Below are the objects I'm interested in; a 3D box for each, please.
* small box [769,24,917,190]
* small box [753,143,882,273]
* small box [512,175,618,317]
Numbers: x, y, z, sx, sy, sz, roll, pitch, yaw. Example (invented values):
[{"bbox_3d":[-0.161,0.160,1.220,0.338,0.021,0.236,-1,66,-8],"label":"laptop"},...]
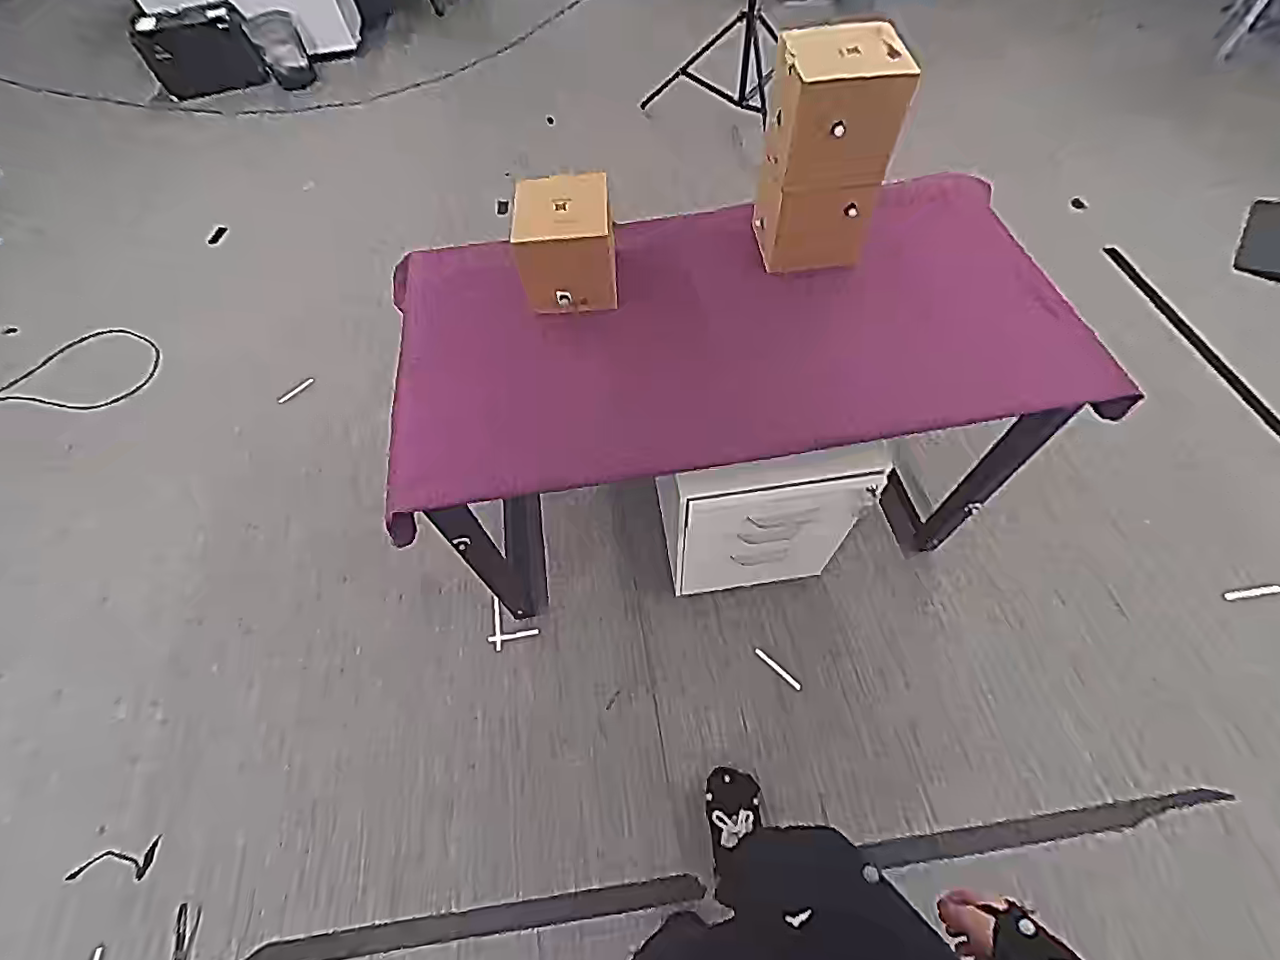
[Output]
[{"bbox_3d":[0.315,-0.602,0.886,0.179,0.176,0.168,-5,61,1],"label":"small box"},{"bbox_3d":[0.325,-0.519,1.027,0.179,0.176,0.168,-6,60,0],"label":"small box"},{"bbox_3d":[-0.131,-0.429,1.004,0.168,0.176,0.179,-5,62,2],"label":"small box"}]
